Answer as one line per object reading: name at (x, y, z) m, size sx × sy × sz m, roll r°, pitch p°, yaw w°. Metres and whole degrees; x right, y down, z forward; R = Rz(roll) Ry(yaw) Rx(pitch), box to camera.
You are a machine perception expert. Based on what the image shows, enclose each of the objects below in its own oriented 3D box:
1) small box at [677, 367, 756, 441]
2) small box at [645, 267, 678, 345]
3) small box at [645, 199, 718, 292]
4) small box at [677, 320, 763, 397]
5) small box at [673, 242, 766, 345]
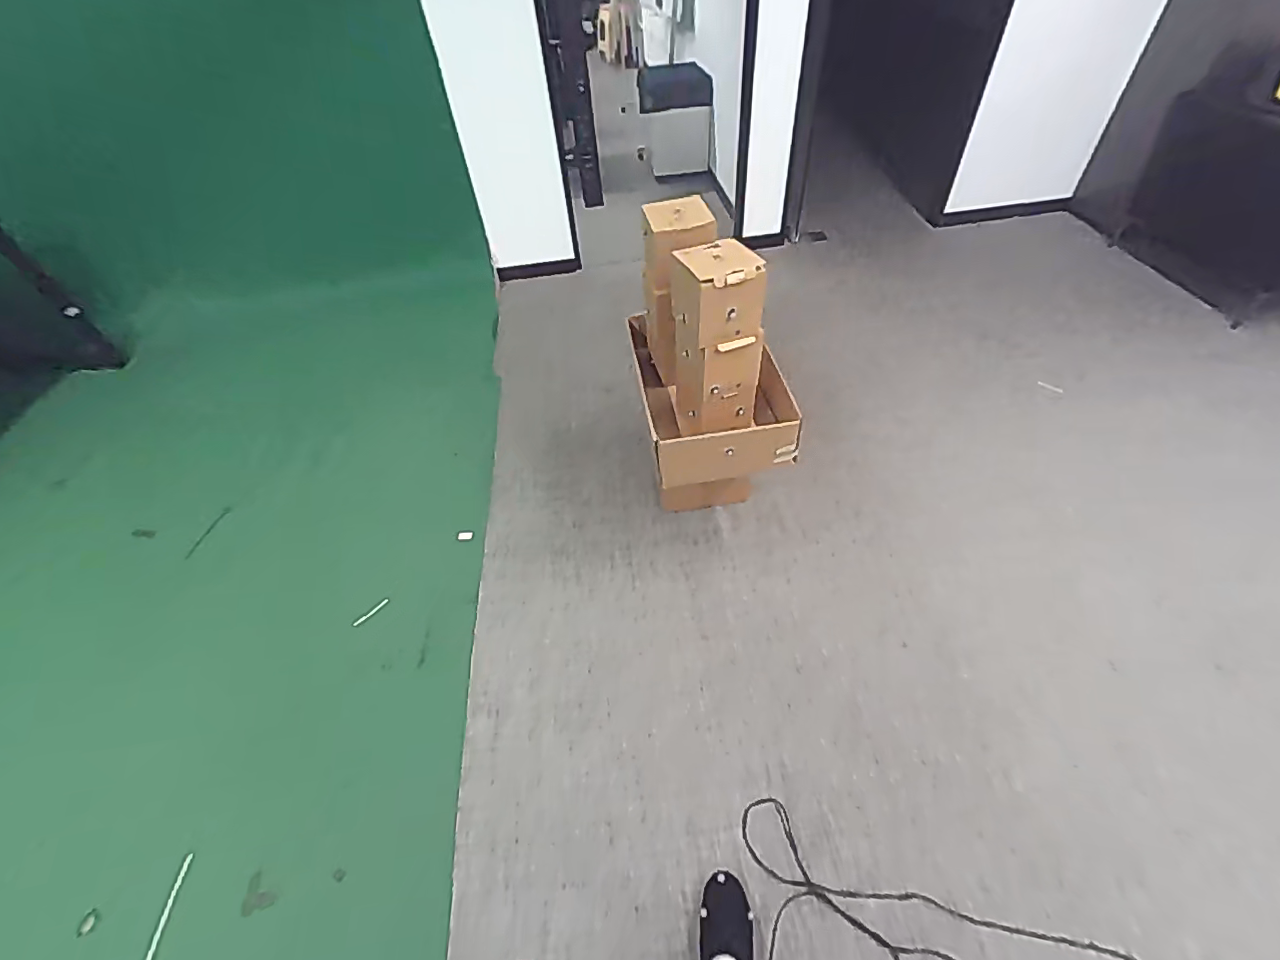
small box at (0.215, -0.231, 1.555) m, size 0.168 × 0.176 × 0.179 m, roll -18°, pitch 49°, yaw -11°
small box at (0.118, -0.527, 1.604) m, size 0.179 × 0.176 × 0.168 m, roll -13°, pitch 49°, yaw -5°
small box at (0.110, -0.644, 1.488) m, size 0.168 × 0.176 × 0.179 m, roll -11°, pitch 49°, yaw -3°
small box at (0.207, -0.338, 1.431) m, size 0.168 × 0.176 × 0.179 m, roll -18°, pitch 48°, yaw -12°
small box at (0.186, -0.444, 1.307) m, size 0.168 × 0.176 × 0.179 m, roll -16°, pitch 50°, yaw -11°
